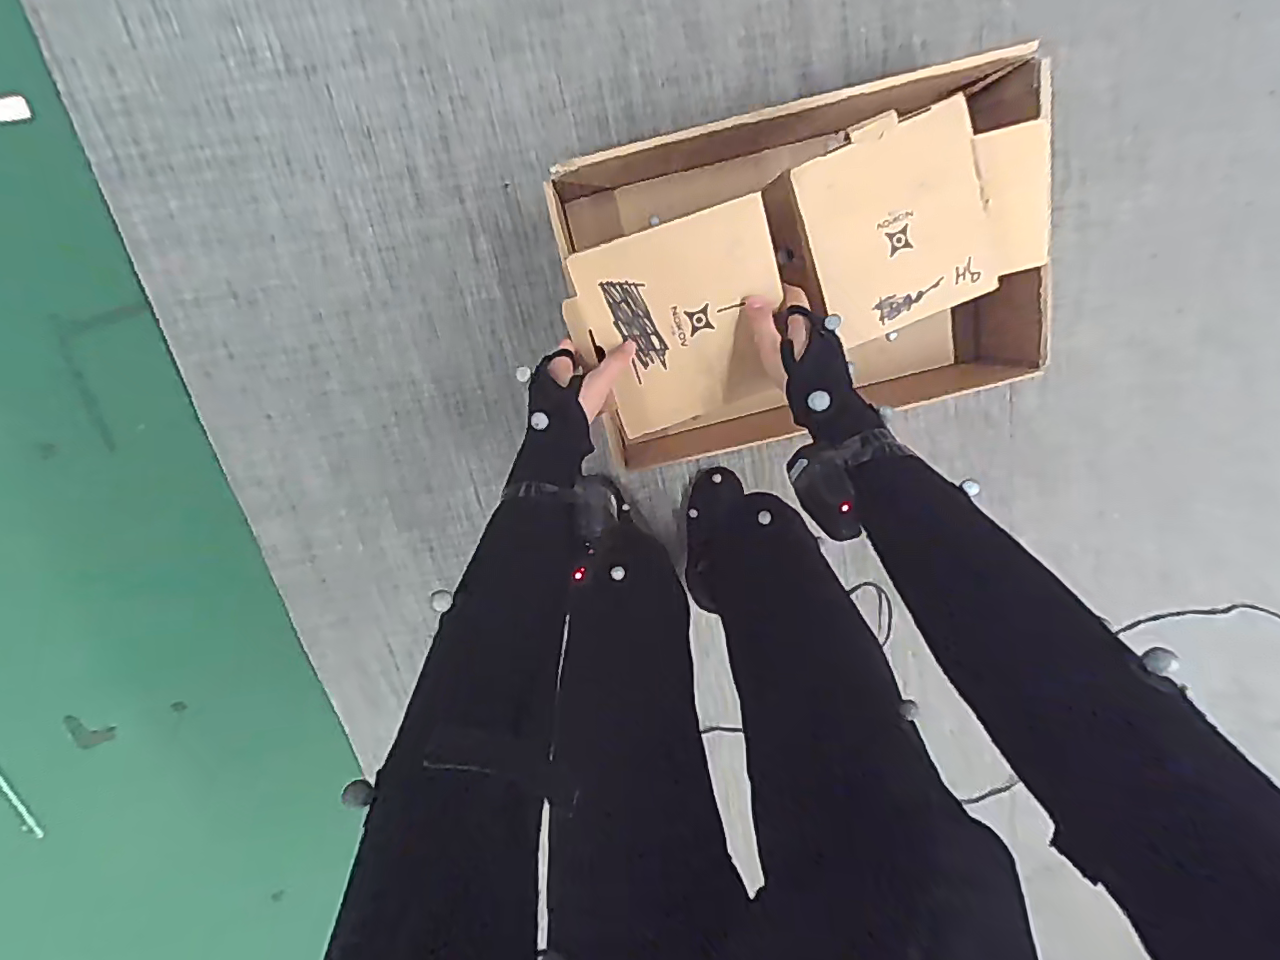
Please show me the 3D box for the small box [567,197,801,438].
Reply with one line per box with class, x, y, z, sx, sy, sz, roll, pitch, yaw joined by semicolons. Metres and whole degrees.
small box;0.035;-0.158;0.549;0.179;0.176;0.168;-19;108;-2
